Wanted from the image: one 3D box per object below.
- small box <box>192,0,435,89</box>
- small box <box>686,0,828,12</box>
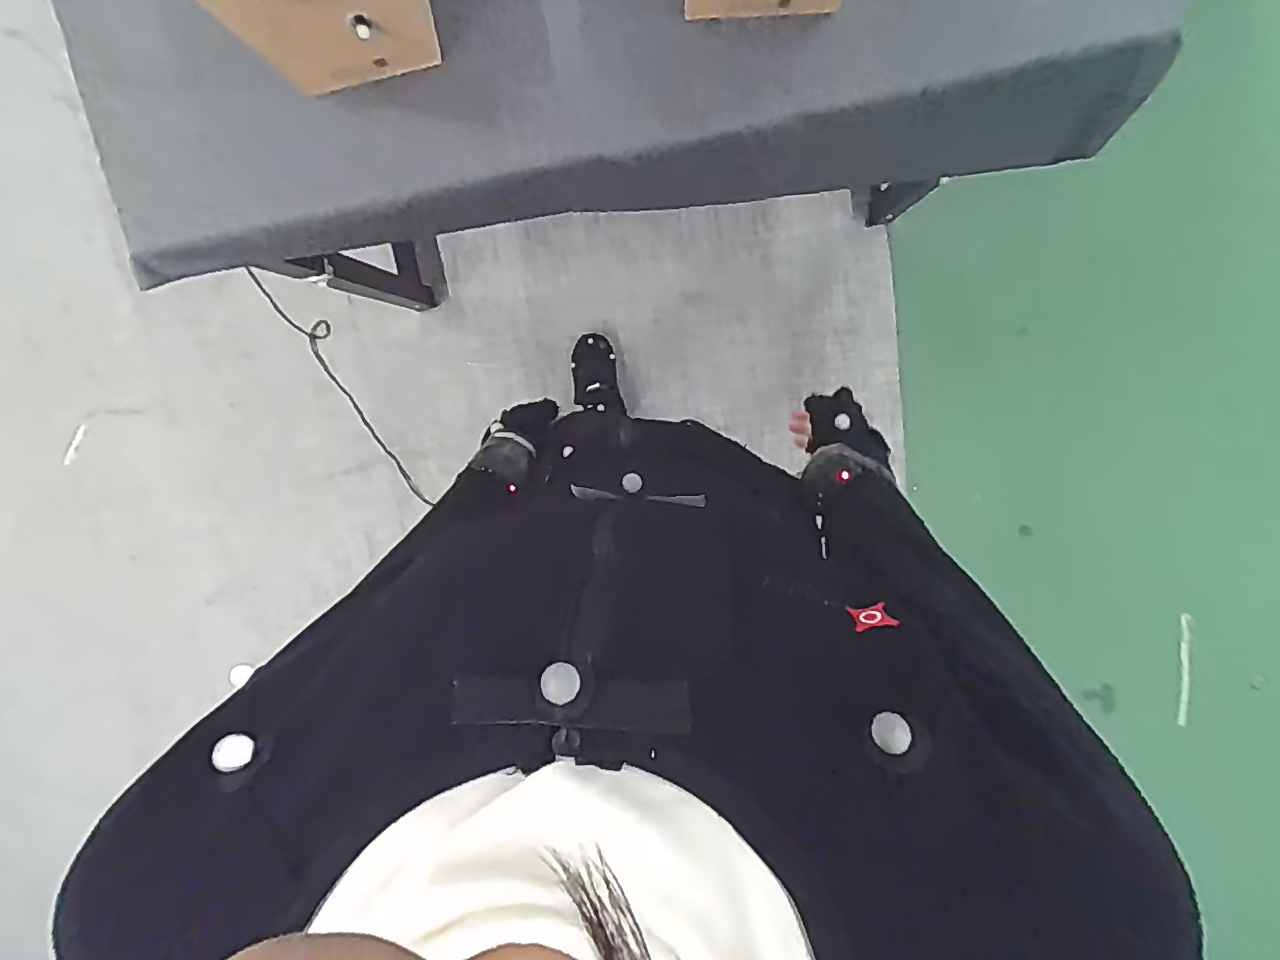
[{"bbox_3d":[-0.328,-0.529,0.538,0.168,0.176,0.179,-10,97,4],"label":"small box"},{"bbox_3d":[0.117,-0.573,0.496,0.168,0.176,0.179,0,101,4],"label":"small box"}]
